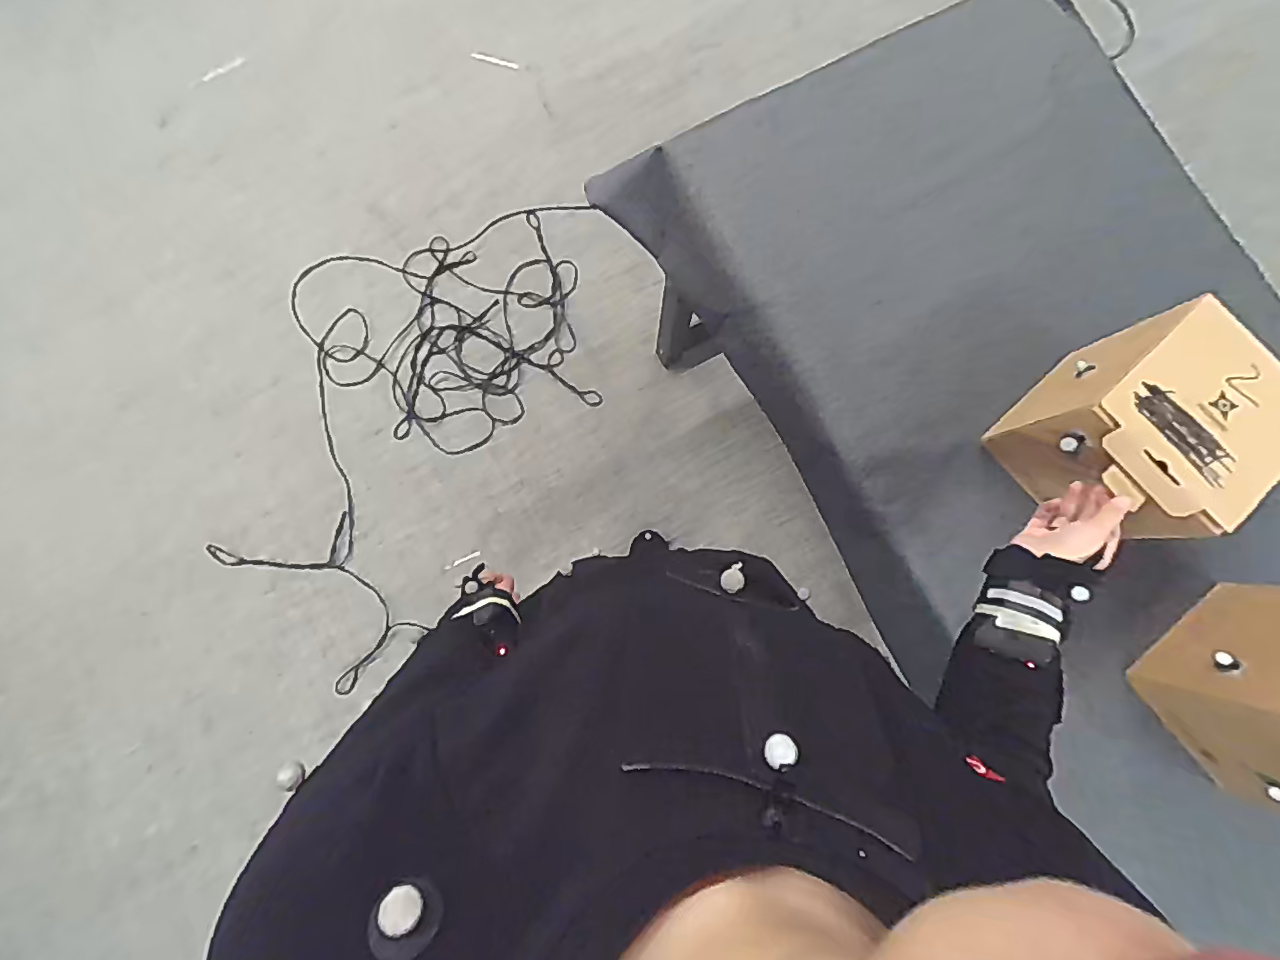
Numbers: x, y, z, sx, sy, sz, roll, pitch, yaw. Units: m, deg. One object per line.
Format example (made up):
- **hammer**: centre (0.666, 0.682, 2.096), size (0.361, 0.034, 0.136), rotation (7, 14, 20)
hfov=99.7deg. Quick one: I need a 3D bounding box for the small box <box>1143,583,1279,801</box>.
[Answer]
- **small box**: centre (0.687, 0.225, 0.556), size (0.179, 0.176, 0.168), rotation (-39, 86, -7)
